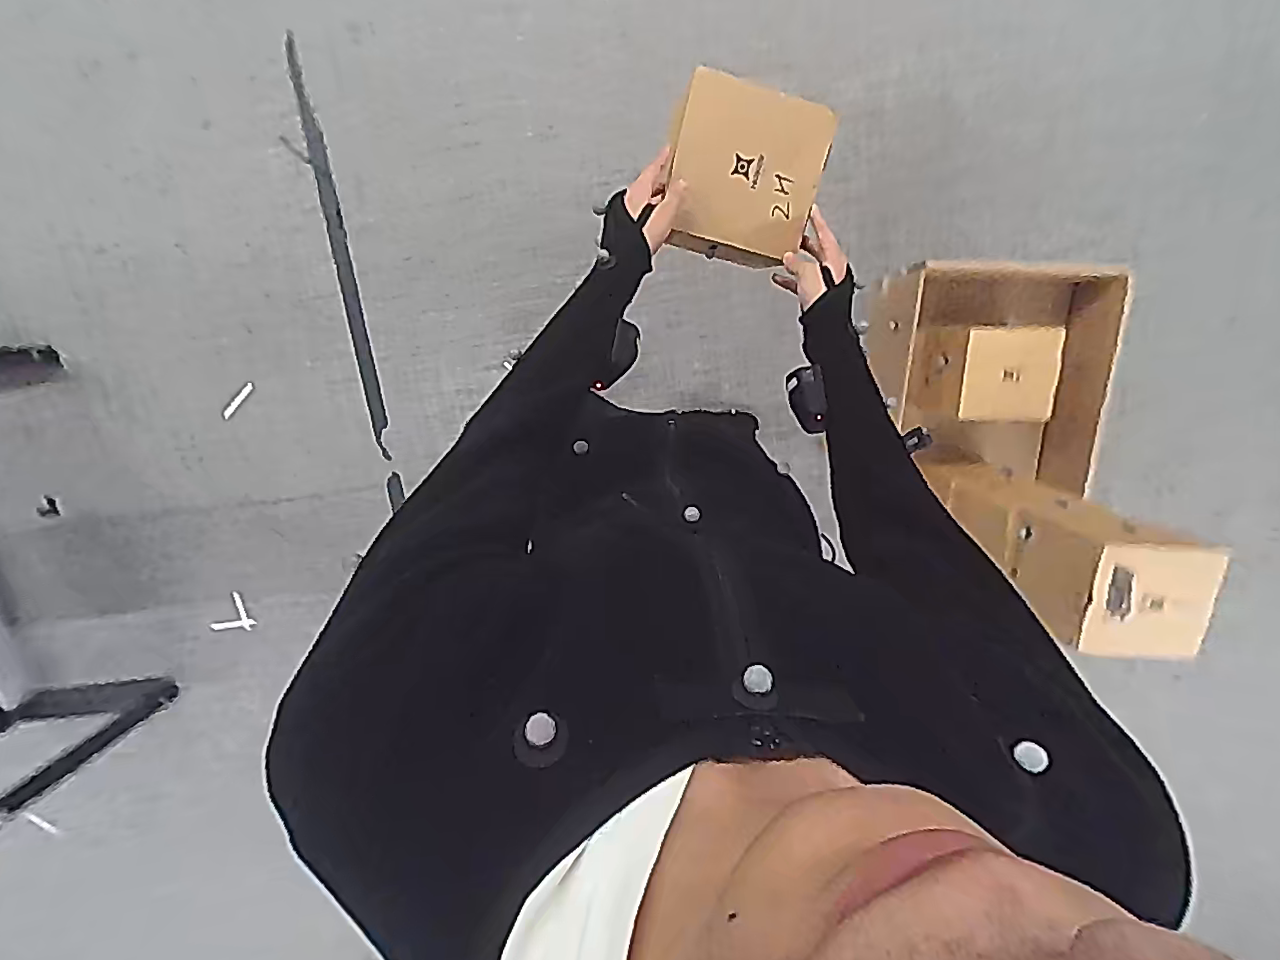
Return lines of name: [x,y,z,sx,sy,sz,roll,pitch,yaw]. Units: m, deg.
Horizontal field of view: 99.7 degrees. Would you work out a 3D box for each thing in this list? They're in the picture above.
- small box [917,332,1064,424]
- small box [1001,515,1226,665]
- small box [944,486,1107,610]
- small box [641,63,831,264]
small box: [0.680,-0.204,1.071,0.179,0.176,0.168,0,104,0]
small box: [0.693,0.156,0.817,0.179,0.176,0.168,3,104,-1]
small box: [0.680,0.118,0.978,0.168,0.176,0.179,0,105,1]
small box: [0.104,-0.380,0.686,0.179,0.176,0.168,11,108,-9]
